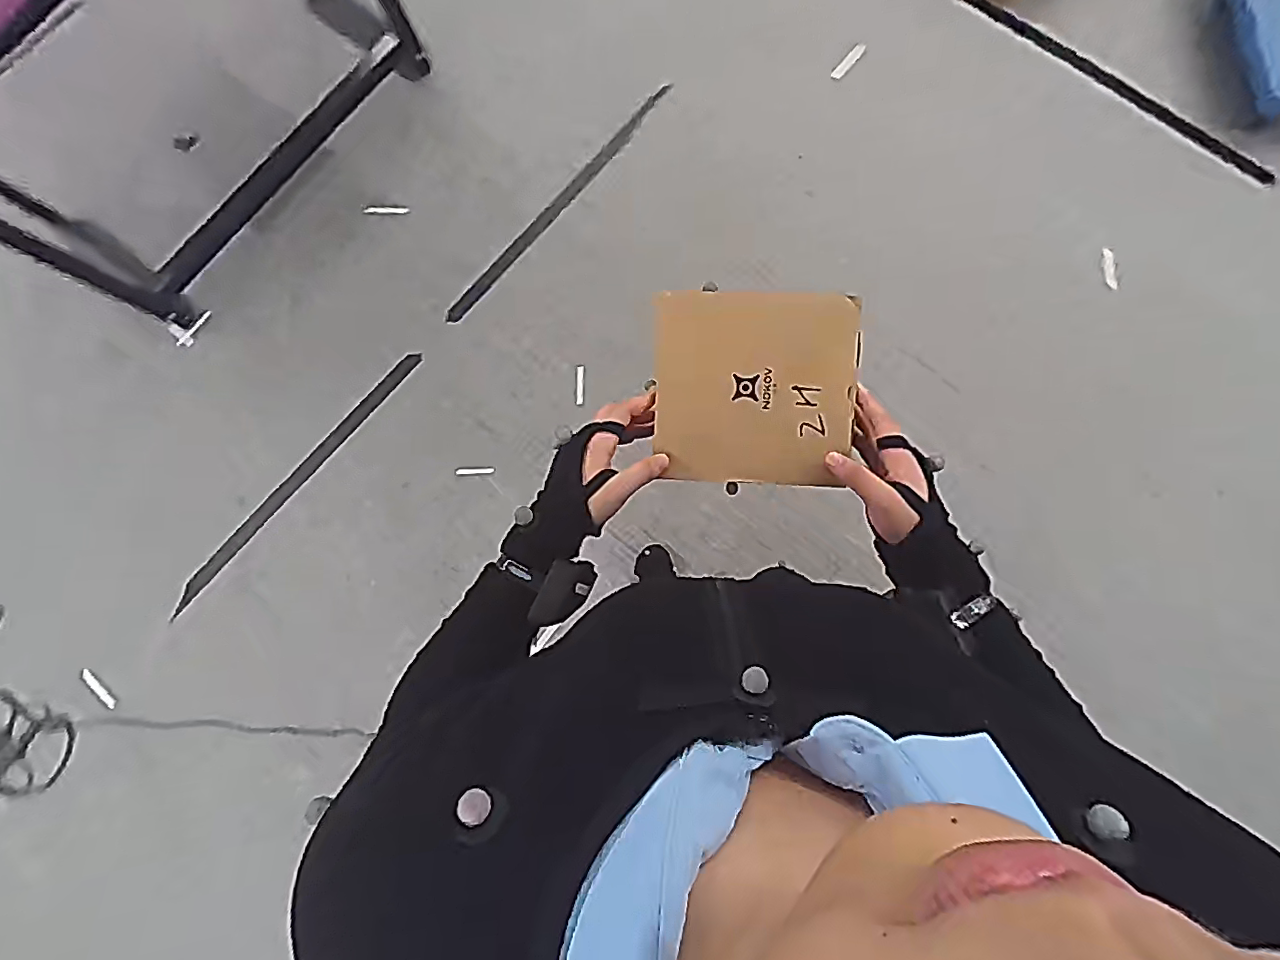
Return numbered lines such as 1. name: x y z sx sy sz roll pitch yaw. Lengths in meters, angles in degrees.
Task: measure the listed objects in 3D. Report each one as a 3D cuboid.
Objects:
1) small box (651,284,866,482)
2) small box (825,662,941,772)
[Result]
1. small box: 0.104 -0.090 0.541 0.179 0.176 0.168 2 97 3
2. small box: 0.596 0.577 1.347 0.179 0.176 0.168 35 84 8
